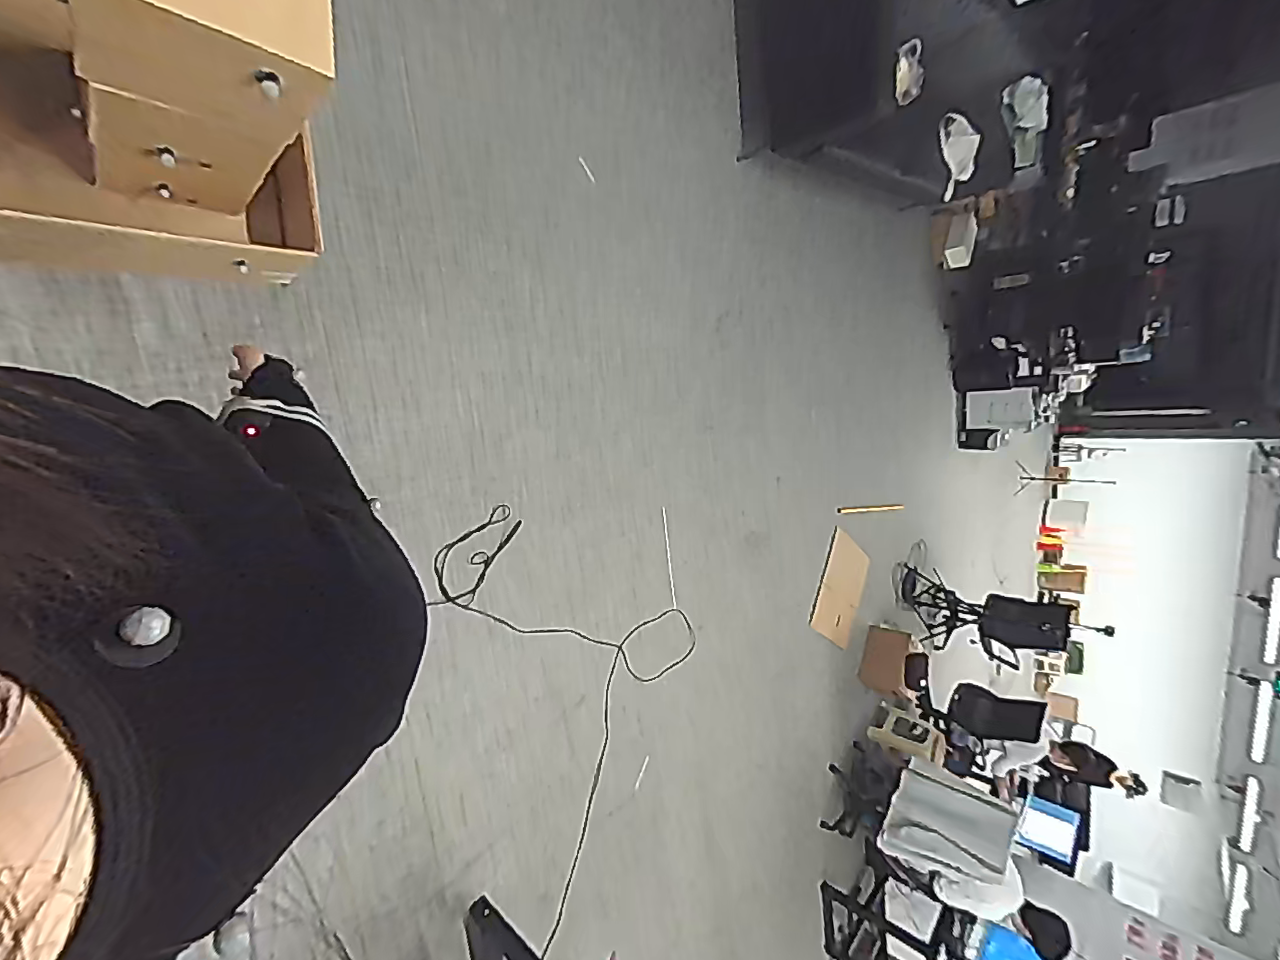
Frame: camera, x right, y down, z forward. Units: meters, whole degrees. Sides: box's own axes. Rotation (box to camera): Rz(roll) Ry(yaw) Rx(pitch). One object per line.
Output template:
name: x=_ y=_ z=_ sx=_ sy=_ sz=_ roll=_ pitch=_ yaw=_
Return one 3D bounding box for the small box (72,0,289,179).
small box: x=-0.517 y=-0.476 z=0.609 sx=0.168 sy=0.176 sz=0.179 roll=-8 pitch=101 yaw=-44
